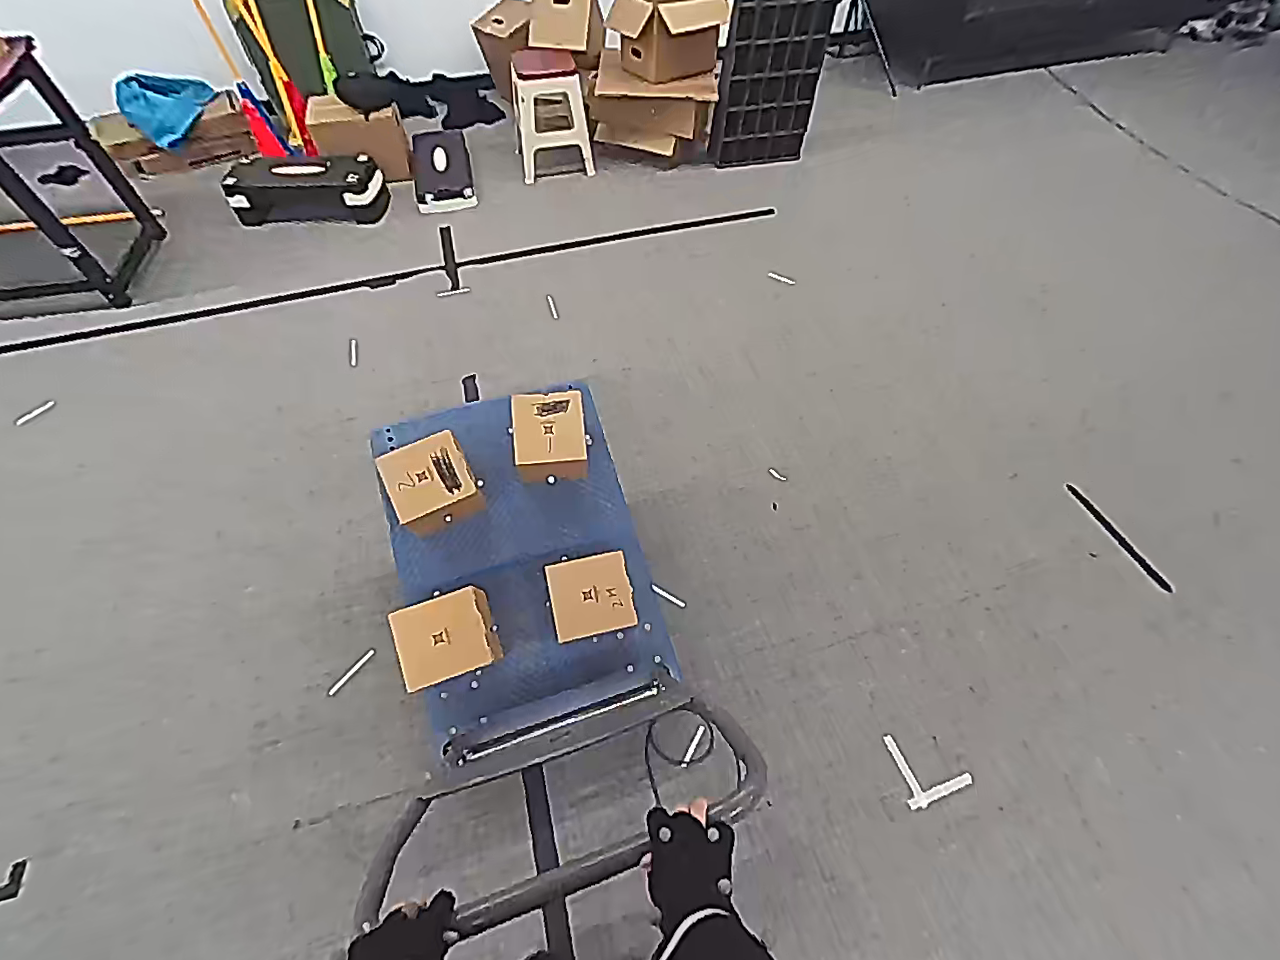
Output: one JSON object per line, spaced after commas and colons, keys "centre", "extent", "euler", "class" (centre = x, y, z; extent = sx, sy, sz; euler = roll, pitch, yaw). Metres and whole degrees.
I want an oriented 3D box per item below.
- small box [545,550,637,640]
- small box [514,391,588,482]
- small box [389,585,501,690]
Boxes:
{"centre": [-0.114, 0.268, 1.239], "extent": [0.179, 0.176, 0.168], "euler": [-10, 76, -10], "class": "small box"}
{"centre": [-0.220, -0.103, 1.332], "extent": [0.168, 0.176, 0.179], "euler": [-5, 76, -8], "class": "small box"}
{"centre": [-0.417, 0.342, 1.180], "extent": [0.179, 0.176, 0.168], "euler": [-18, 77, -13], "class": "small box"}
